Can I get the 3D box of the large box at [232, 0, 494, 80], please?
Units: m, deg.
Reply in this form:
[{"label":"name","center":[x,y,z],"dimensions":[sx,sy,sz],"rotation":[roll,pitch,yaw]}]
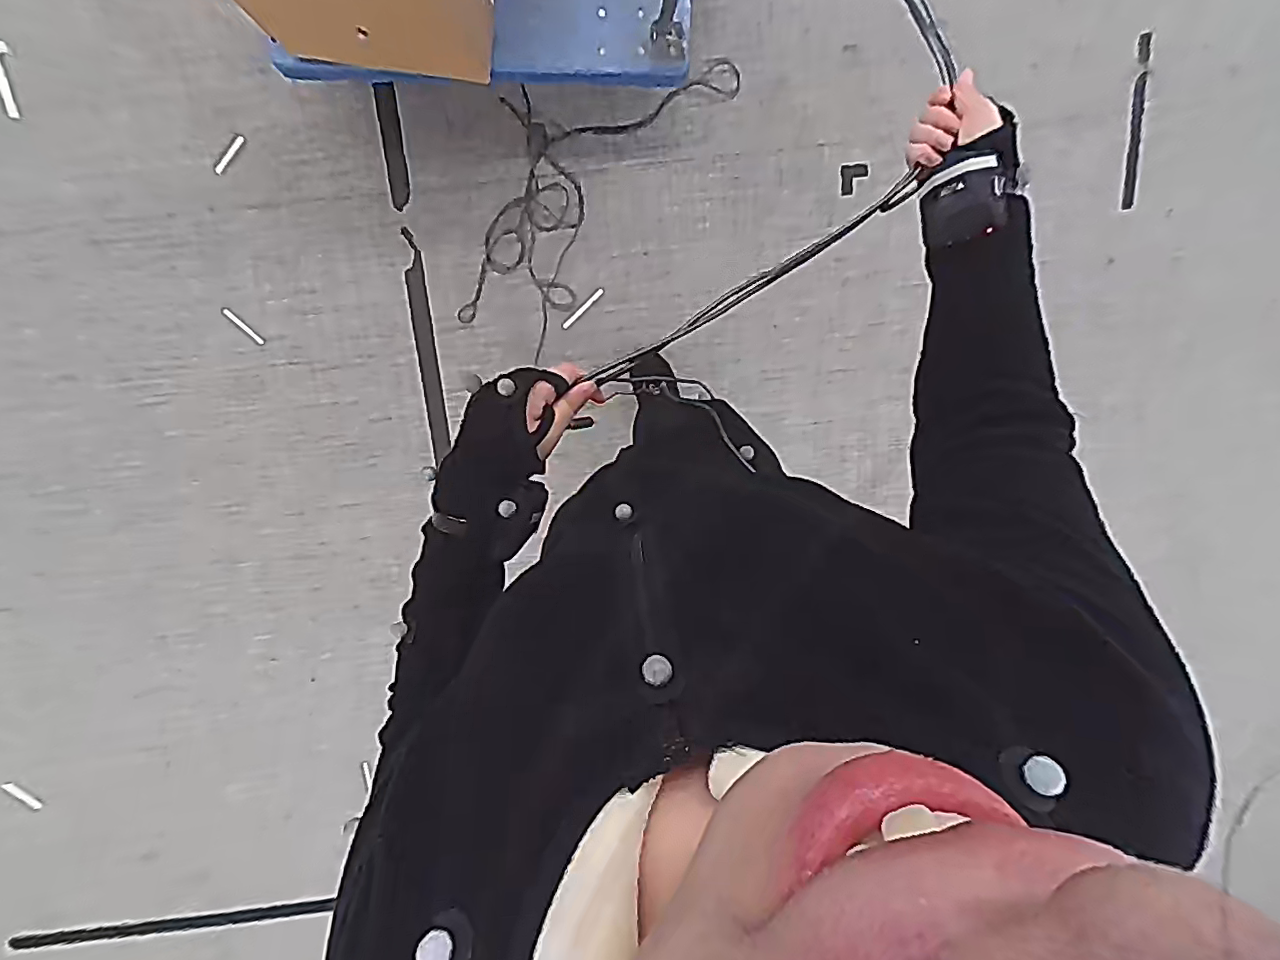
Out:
[{"label":"large box","center":[-0.485,-0.953,0.934],"dimensions":[0.408,0.320,0.320],"rotation":[5,101,-3]}]
